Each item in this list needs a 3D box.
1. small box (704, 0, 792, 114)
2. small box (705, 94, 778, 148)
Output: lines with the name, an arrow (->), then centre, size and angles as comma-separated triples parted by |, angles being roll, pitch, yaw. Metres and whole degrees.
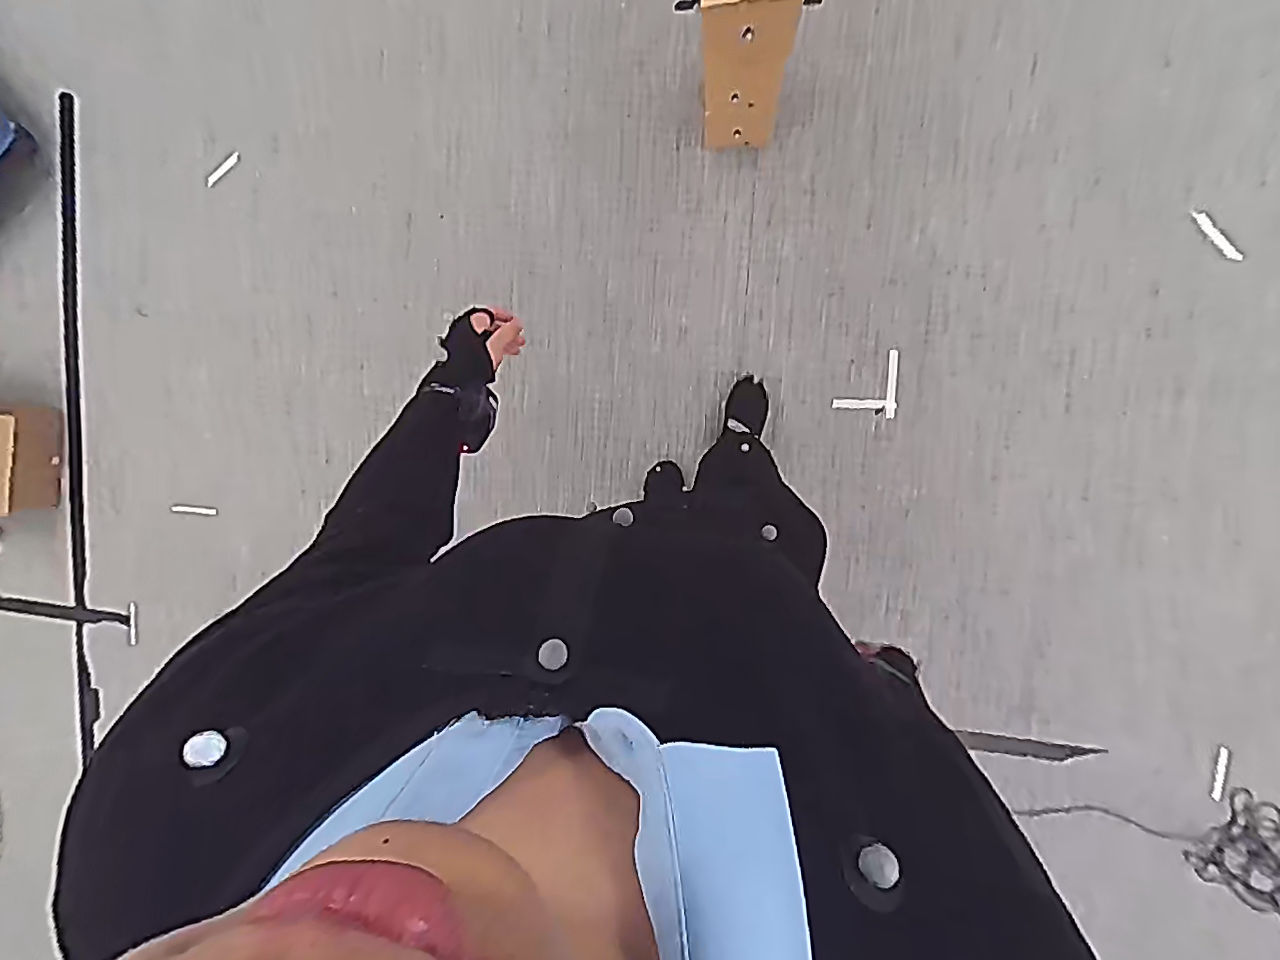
small box -> 0.221, -0.911, 1.135 | 0.168, 0.176, 0.179 | 2, 96, 7
small box -> 0.241, -0.923, 1.296 | 0.168, 0.176, 0.179 | 1, 94, 7
